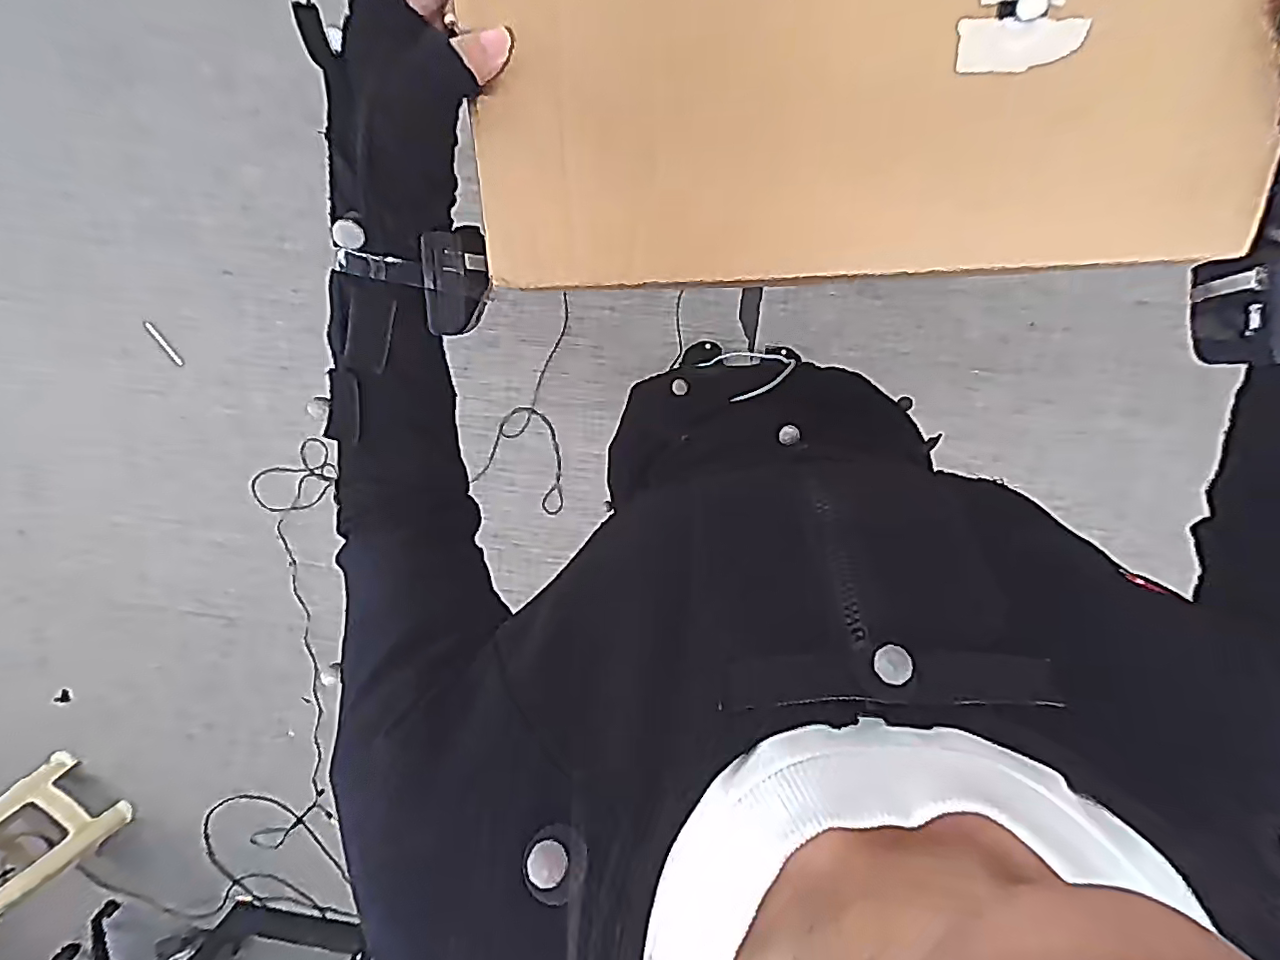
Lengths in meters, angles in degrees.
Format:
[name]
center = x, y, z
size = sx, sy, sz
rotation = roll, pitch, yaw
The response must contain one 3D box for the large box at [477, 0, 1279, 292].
[large box]
center = 0.116, -0.316, 0.402
size = 0.408, 0.320, 0.320
rotation = -2, 109, 2
